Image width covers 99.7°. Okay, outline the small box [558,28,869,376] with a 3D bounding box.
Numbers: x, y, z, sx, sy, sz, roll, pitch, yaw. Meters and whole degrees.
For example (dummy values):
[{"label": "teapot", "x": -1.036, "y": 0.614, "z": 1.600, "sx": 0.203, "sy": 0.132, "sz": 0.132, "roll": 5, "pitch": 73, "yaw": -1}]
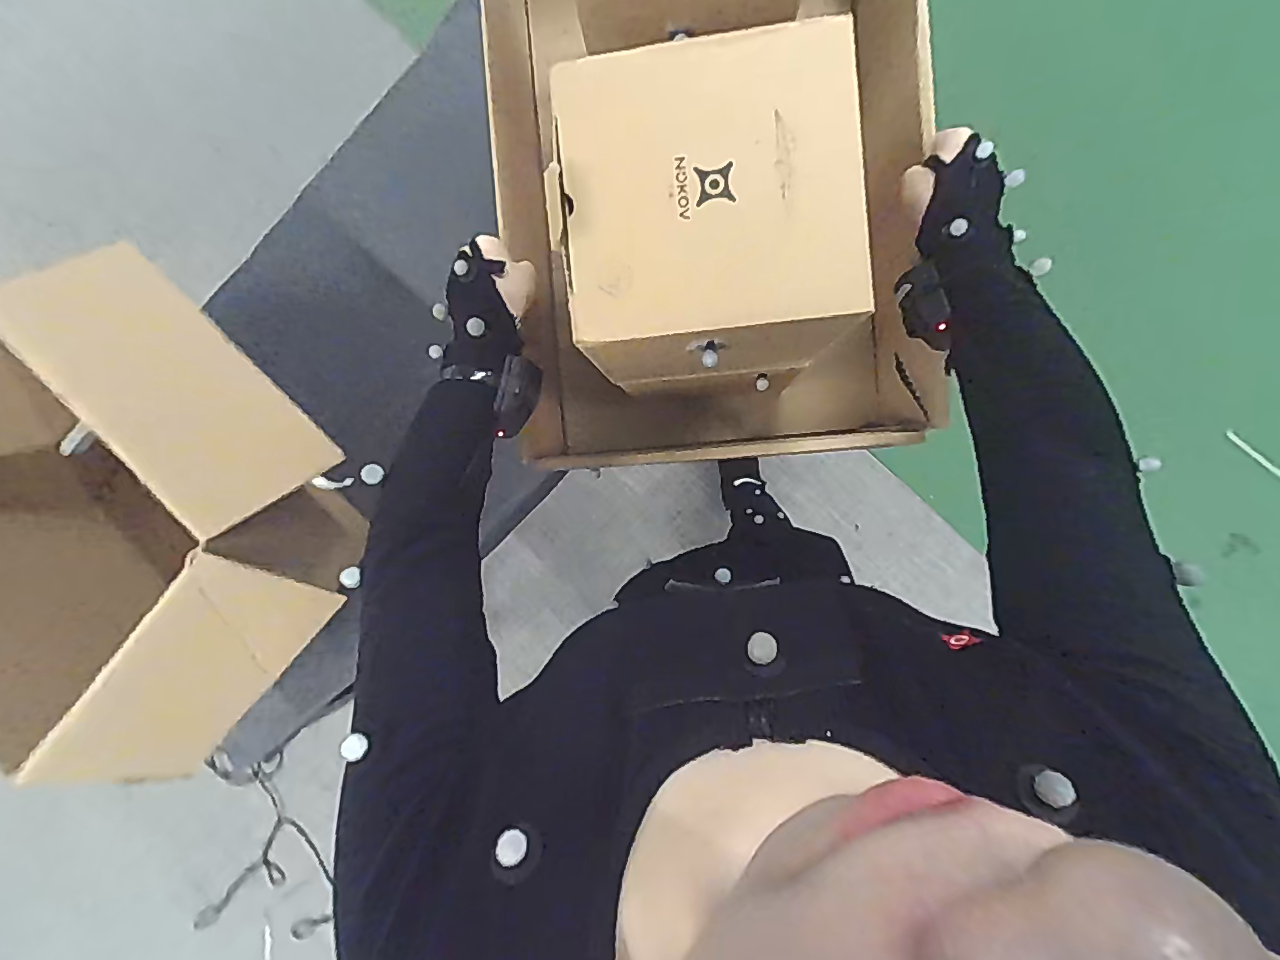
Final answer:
[{"label": "small box", "x": 0.049, "y": -0.175, "z": 0.400, "sx": 0.179, "sy": 0.176, "sz": 0.168, "roll": -5, "pitch": 93, "yaw": 5}]
